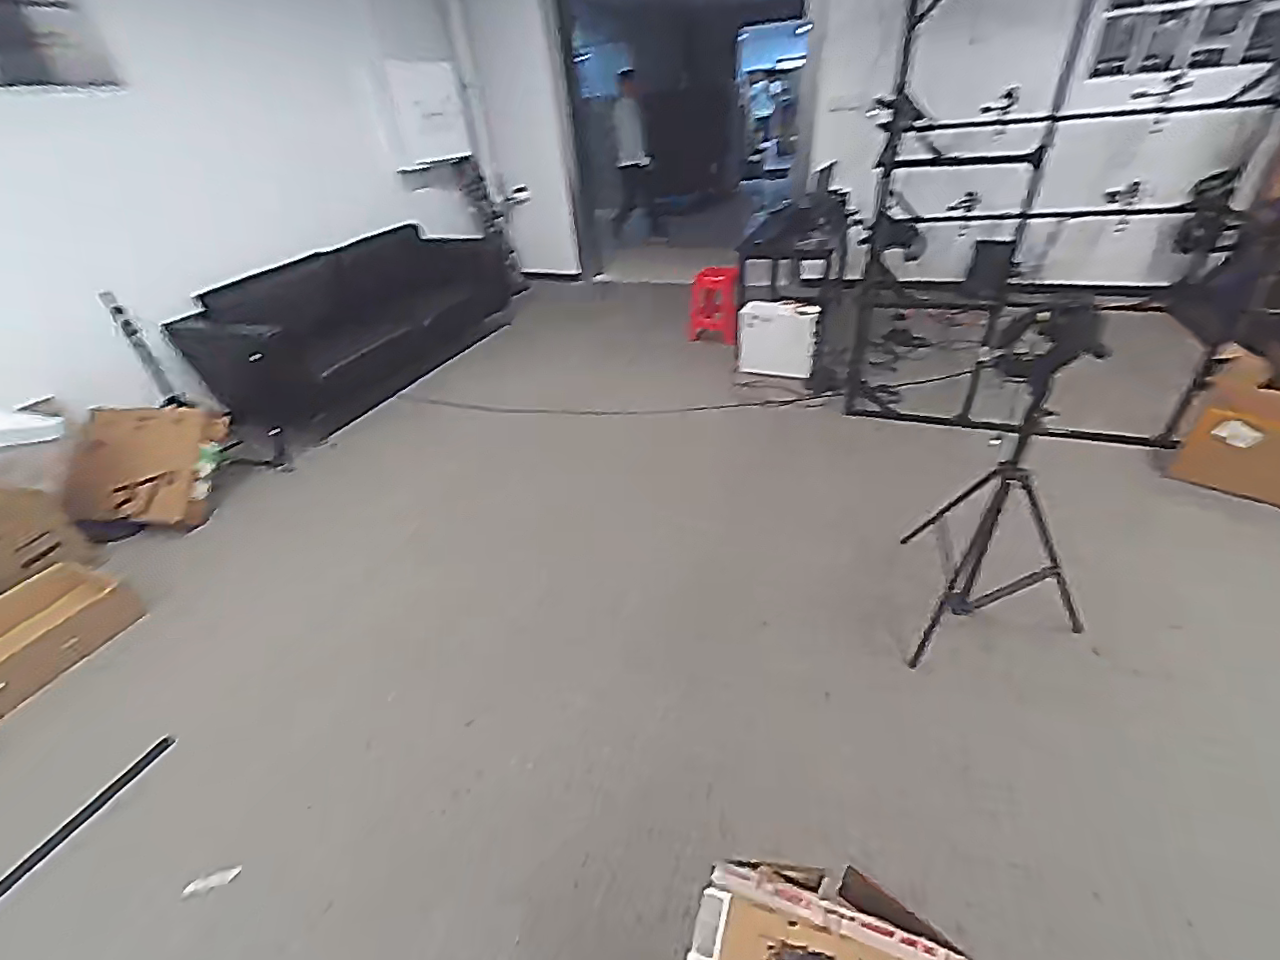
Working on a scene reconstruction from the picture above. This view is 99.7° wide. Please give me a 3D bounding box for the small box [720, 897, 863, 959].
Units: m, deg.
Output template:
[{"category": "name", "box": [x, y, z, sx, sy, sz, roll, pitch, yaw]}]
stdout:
[{"category": "small box", "box": [0.177, 0.679, 0.680, 0.168, 0.176, 0.179, 8, 41, 20]}]
